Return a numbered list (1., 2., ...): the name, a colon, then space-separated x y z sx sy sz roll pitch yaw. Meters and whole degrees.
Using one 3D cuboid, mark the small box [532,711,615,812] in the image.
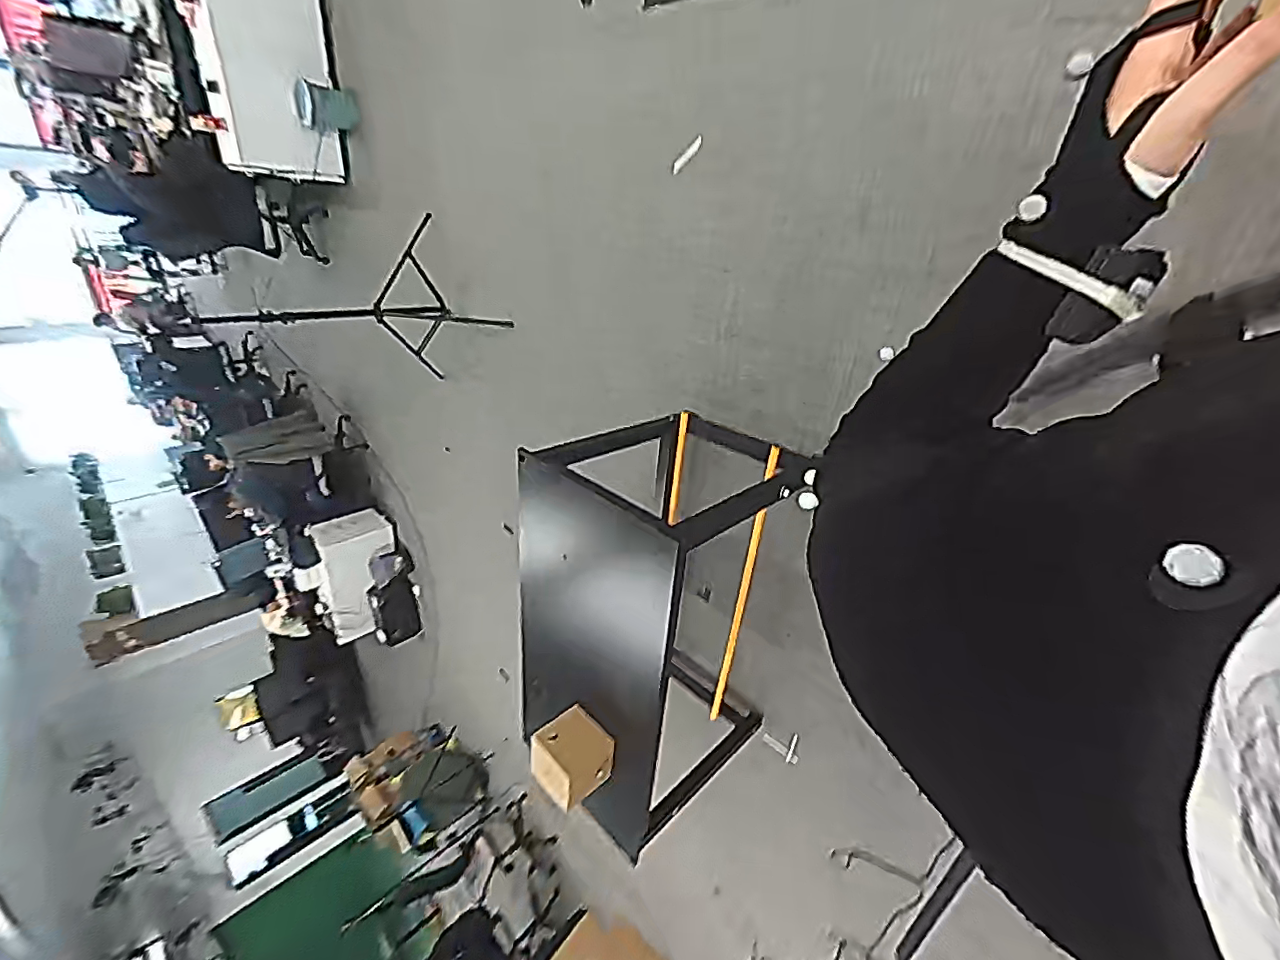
1. small box: -0.199 0.817 1.595 0.179 0.176 0.168 29 125 37
